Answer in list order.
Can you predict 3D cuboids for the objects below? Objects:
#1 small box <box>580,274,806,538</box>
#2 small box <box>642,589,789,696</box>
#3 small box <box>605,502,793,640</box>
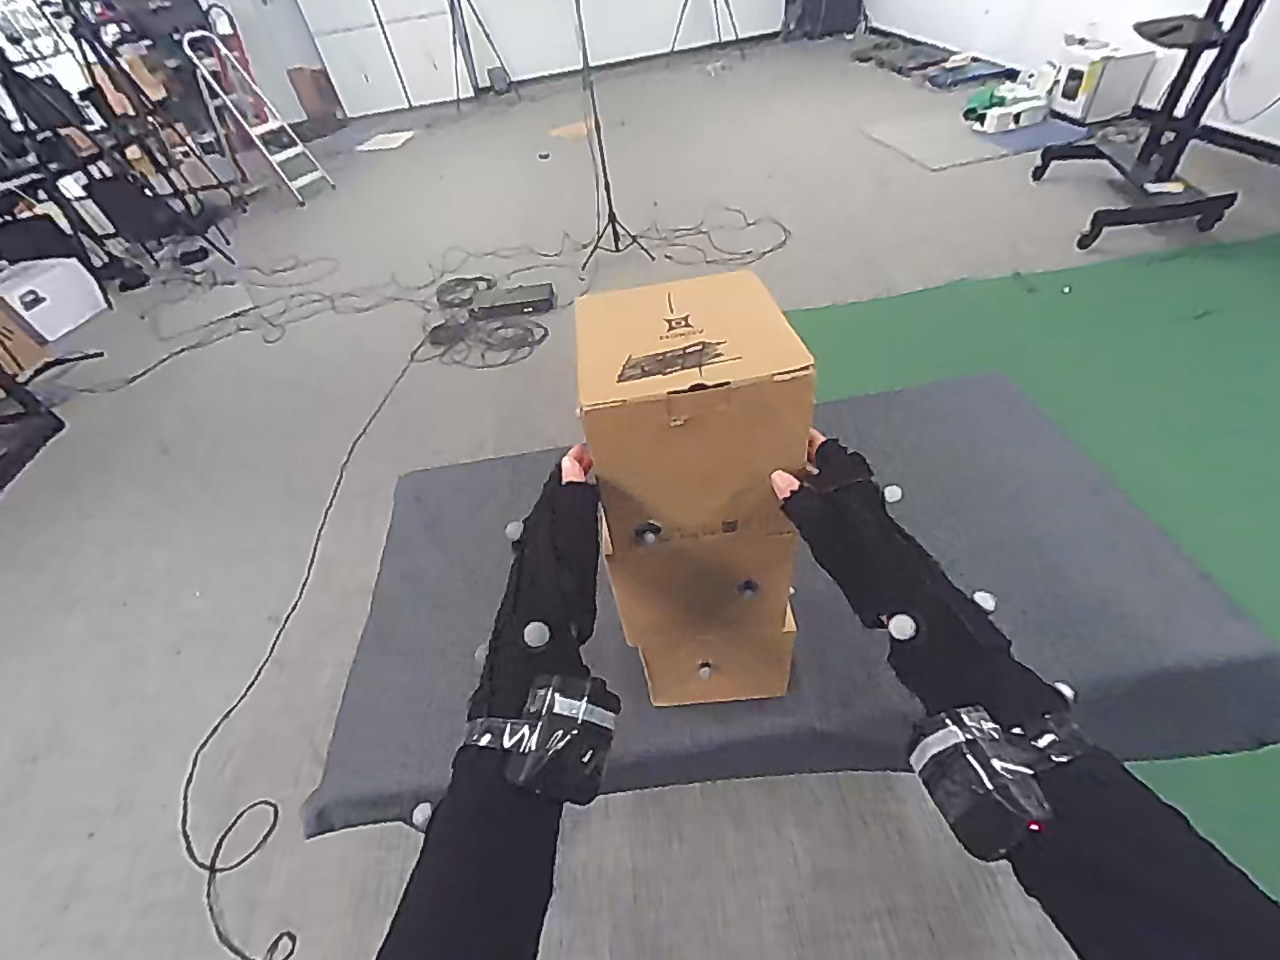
[{"bbox_3d":[0.041,-0.062,0.494,0.168,0.176,0.179,-8,42,0],"label":"small box"},{"bbox_3d":[0.092,0.172,0.718,0.179,0.176,0.168,-6,45,4],"label":"small box"},{"bbox_3d":[0.059,0.059,0.605,0.179,0.176,0.168,-8,43,3],"label":"small box"}]
